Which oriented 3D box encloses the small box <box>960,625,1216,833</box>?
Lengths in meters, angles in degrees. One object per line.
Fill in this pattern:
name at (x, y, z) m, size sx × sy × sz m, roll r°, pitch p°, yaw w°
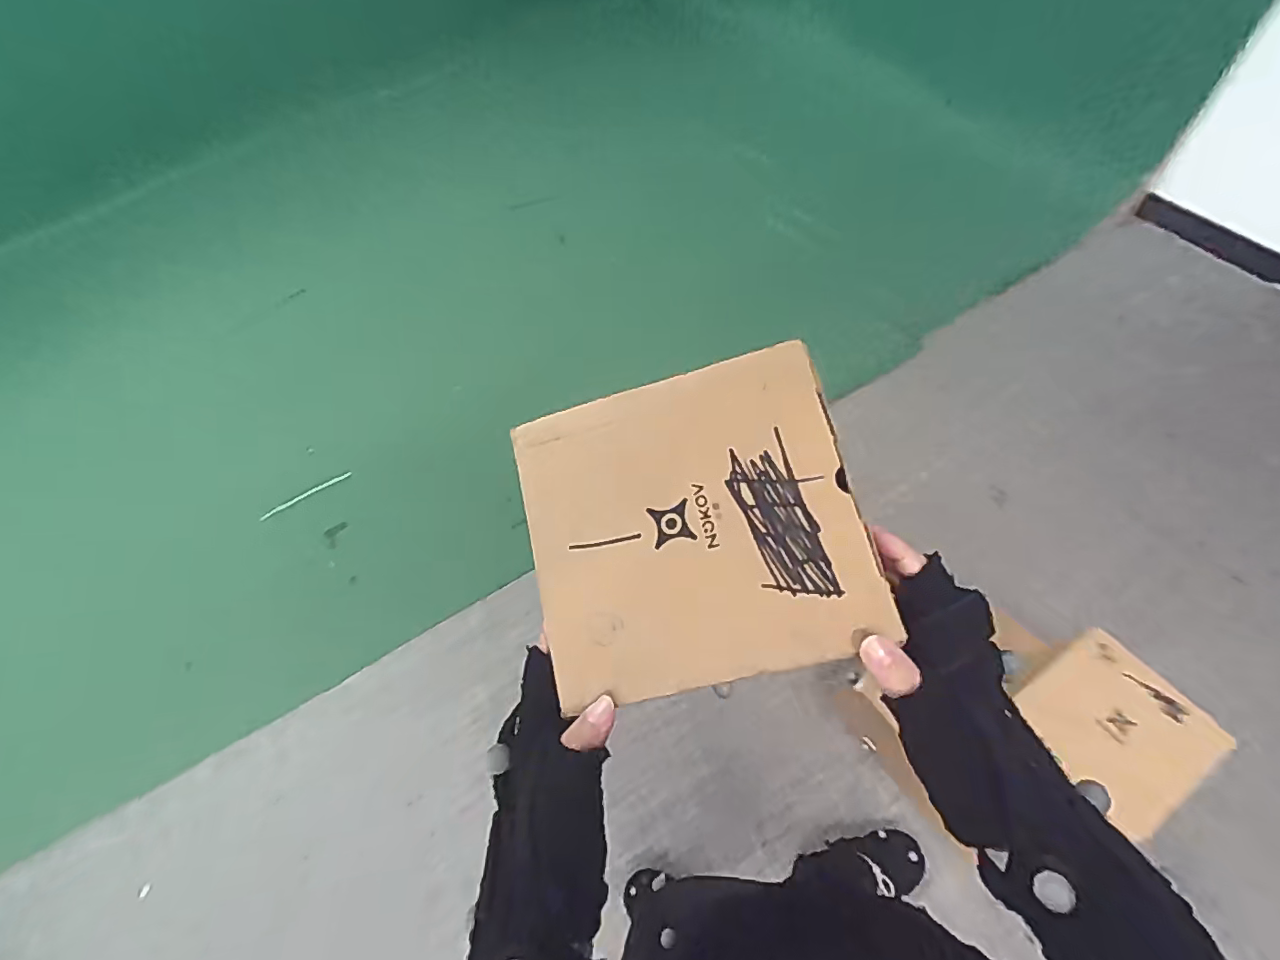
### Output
small box at (0.558, 0.325, 0.711) m, size 0.179 × 0.176 × 0.168 m, roll -34°, pitch 61°, yaw -8°
